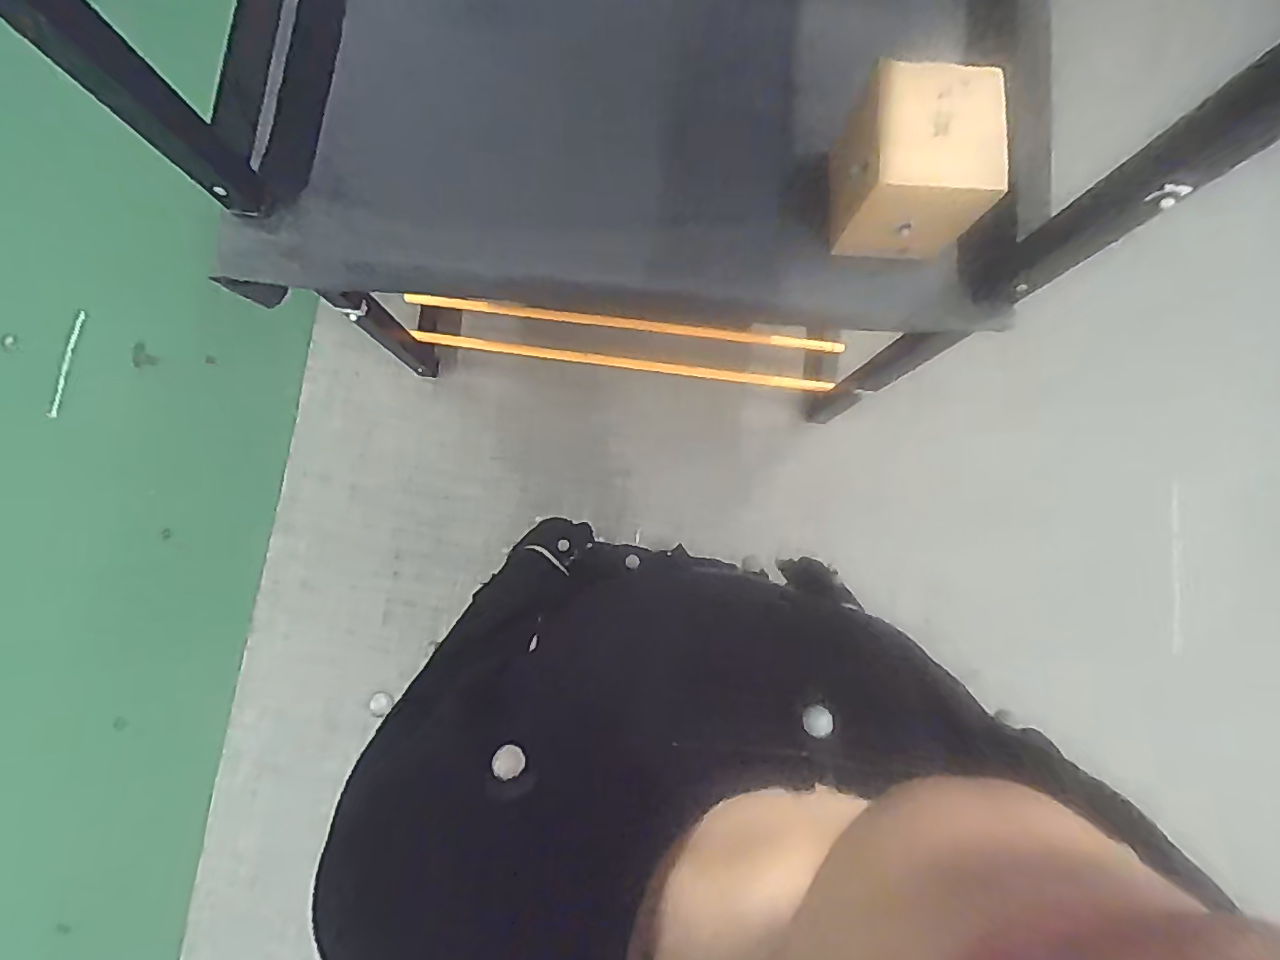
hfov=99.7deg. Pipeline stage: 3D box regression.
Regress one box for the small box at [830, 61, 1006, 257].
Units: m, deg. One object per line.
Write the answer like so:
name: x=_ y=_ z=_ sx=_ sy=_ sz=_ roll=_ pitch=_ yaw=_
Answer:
small box: x=0.381 y=-0.440 z=0.766 sx=0.168 sy=0.176 sz=0.179 roll=3 pitch=82 yaw=-1
